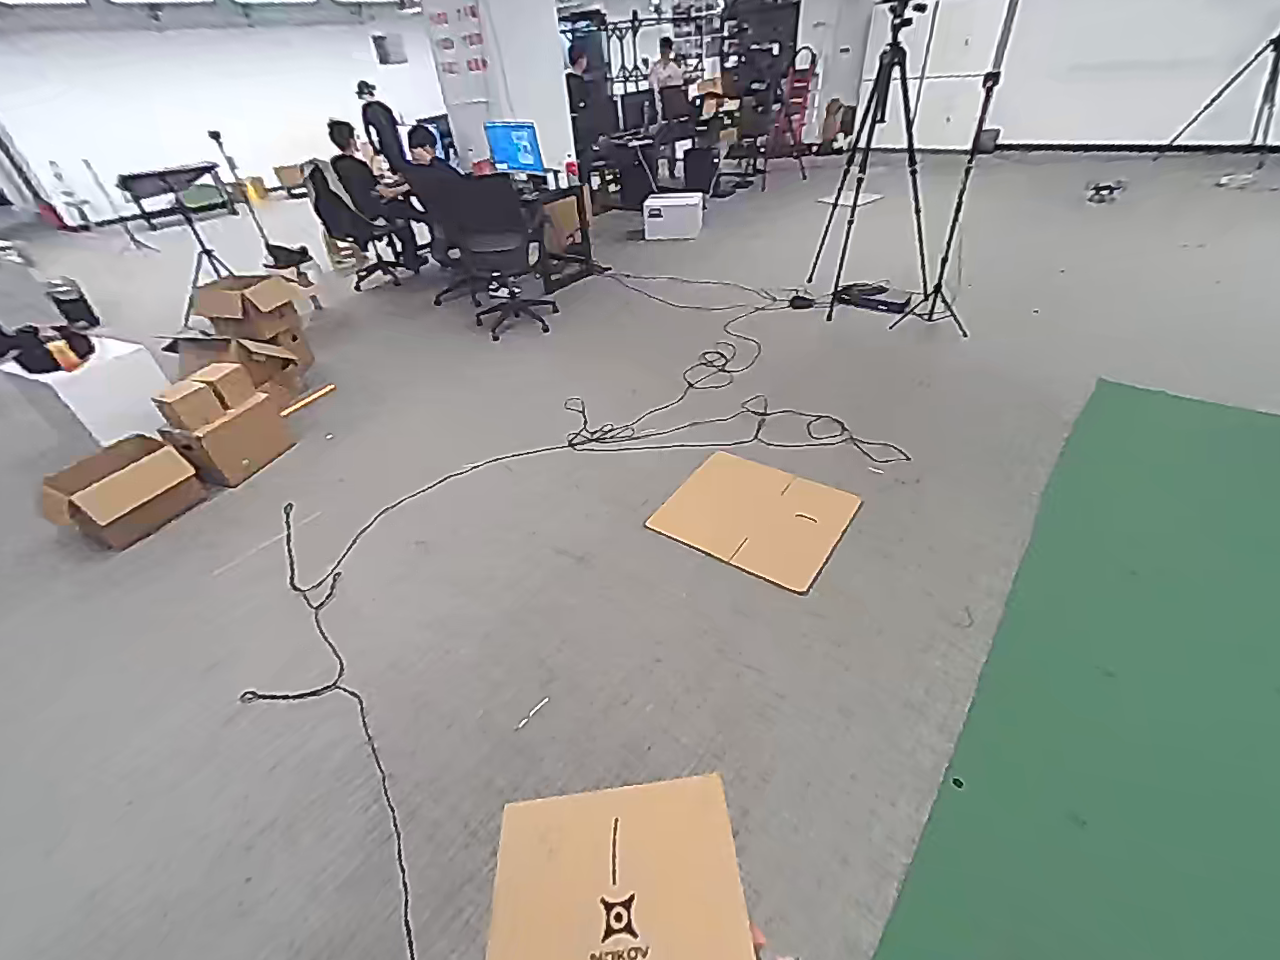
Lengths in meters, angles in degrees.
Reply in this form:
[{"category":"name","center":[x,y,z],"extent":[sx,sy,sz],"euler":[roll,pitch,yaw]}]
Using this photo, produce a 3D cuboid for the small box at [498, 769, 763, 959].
[{"category":"small box","center":[0.002,0.342,0.387],"extent":[0.168,0.176,0.179],"euler":[-8,37,0]}]
